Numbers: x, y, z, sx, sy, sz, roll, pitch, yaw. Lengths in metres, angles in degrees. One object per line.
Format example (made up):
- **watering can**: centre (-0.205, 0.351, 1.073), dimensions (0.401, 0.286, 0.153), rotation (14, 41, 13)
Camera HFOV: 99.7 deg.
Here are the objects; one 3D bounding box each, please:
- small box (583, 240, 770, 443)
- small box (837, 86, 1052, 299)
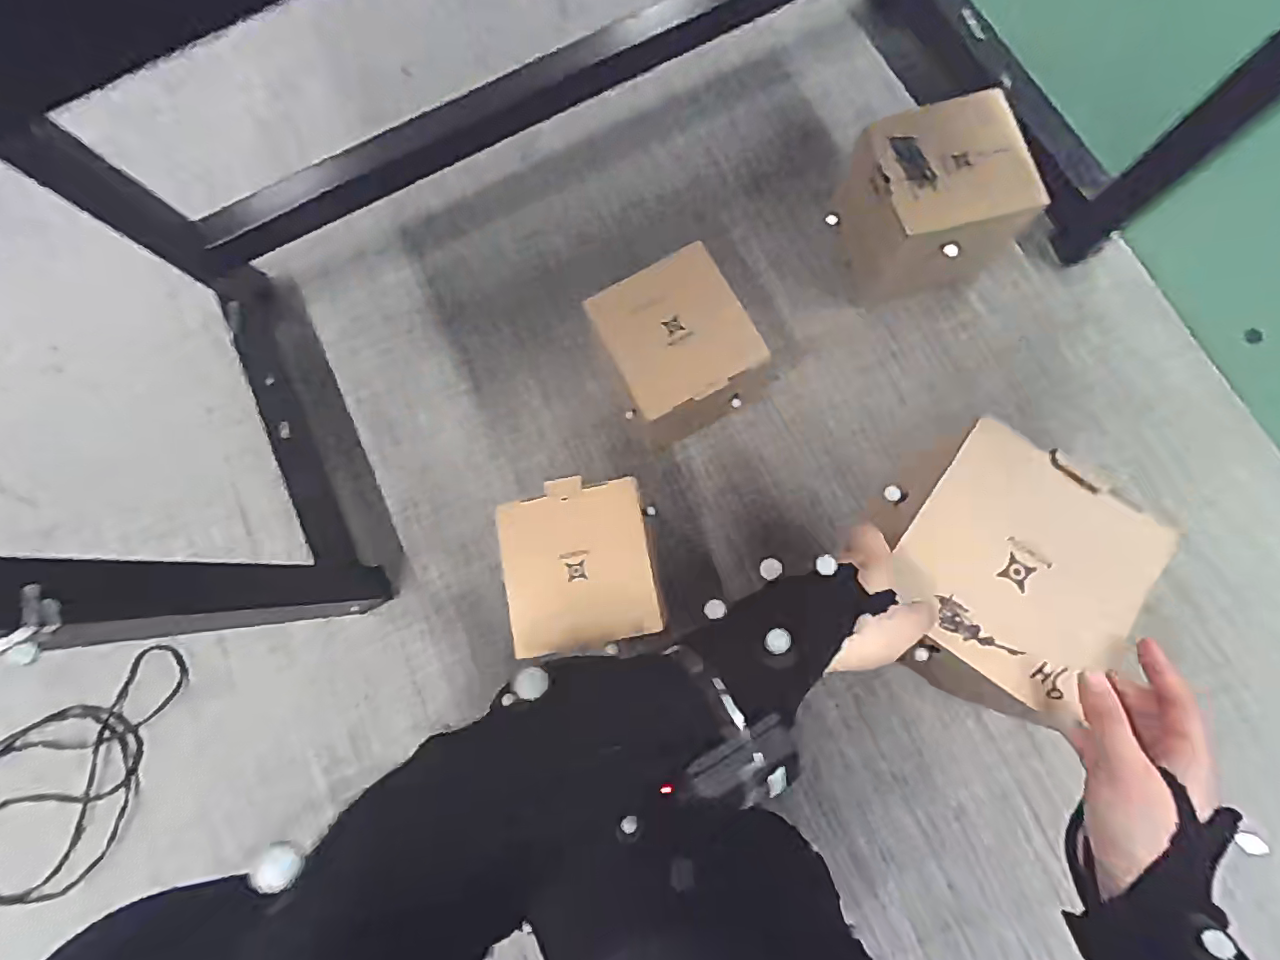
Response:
- **small box**: centre (0.048, -0.164, 0.710), dimensions (0.168, 0.176, 0.179), rotation (-28, 78, -1)
- **small box**: centre (0.380, -0.365, 0.717), dimensions (0.179, 0.176, 0.168), rotation (-13, 80, 1)
